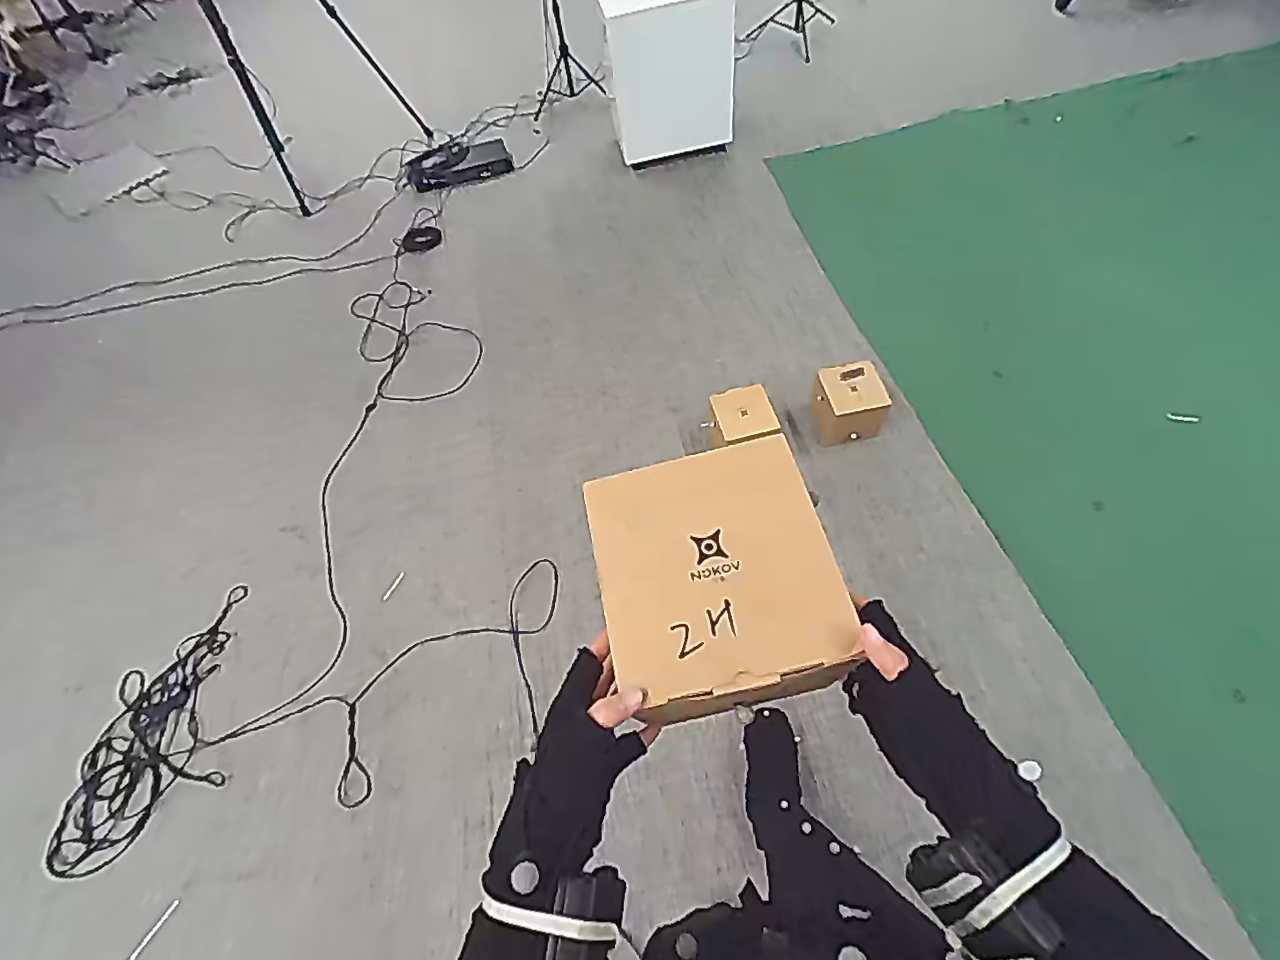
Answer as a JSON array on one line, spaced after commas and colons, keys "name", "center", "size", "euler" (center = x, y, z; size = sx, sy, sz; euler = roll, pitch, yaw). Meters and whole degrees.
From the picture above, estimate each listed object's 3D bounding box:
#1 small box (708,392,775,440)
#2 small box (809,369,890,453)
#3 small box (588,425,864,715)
[{"name": "small box", "center": [0.312, -0.134, 1.649], "size": [0.168, 0.176, 0.179], "euler": [-14, 57, -1]}, {"name": "small box", "center": [0.629, -0.207, 1.651], "size": [0.168, 0.176, 0.179], "euler": [-11, 58, 1]}, {"name": "small box", "center": [0.062, 0.085, 0.460], "size": [0.168, 0.176, 0.179], "euler": [-14, 60, 2]}]
